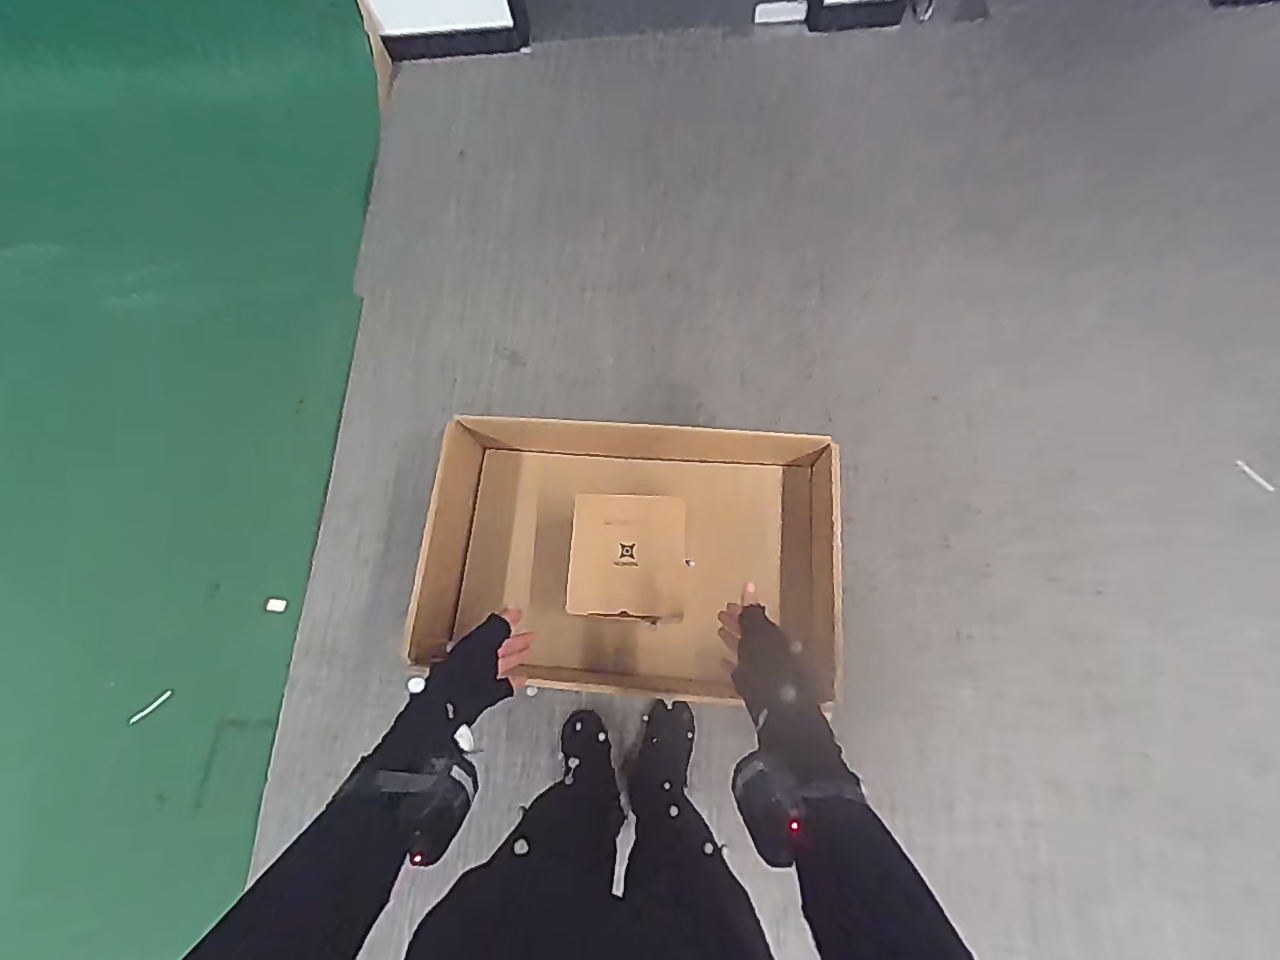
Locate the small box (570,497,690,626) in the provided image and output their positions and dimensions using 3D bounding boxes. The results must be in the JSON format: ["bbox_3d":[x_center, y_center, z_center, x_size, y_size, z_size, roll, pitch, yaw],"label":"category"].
[{"bbox_3d":[-0.007,0.134,0.845,0.168,0.176,0.179,1,72,4],"label":"small box"}]
